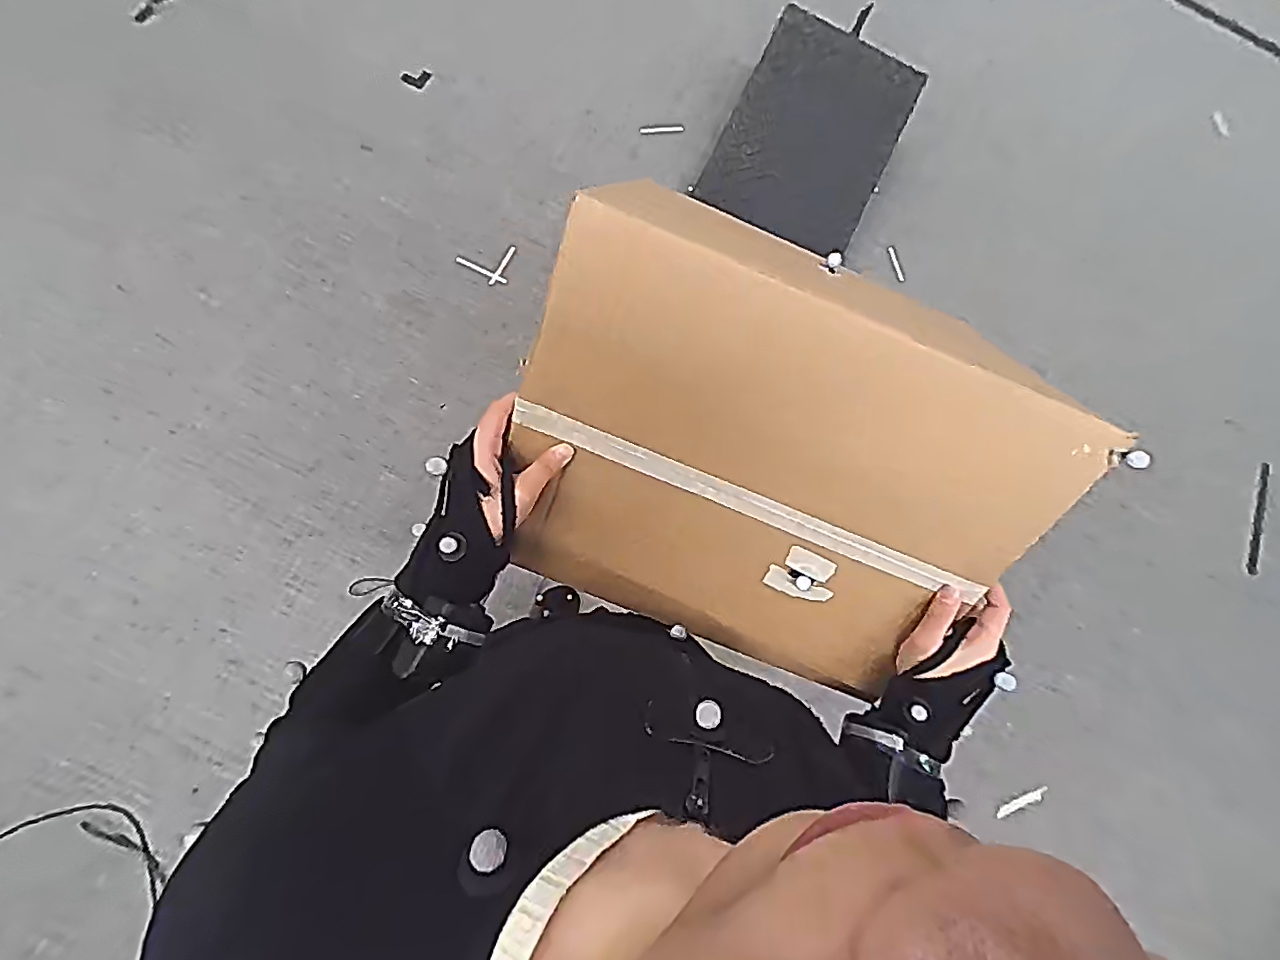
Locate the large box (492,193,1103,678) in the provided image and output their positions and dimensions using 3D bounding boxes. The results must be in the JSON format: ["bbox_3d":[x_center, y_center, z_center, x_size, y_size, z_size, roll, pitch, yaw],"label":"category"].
[{"bbox_3d":[0.110,-0.065,0.570,0.408,0.320,0.320,21,33,-5],"label":"large box"}]
